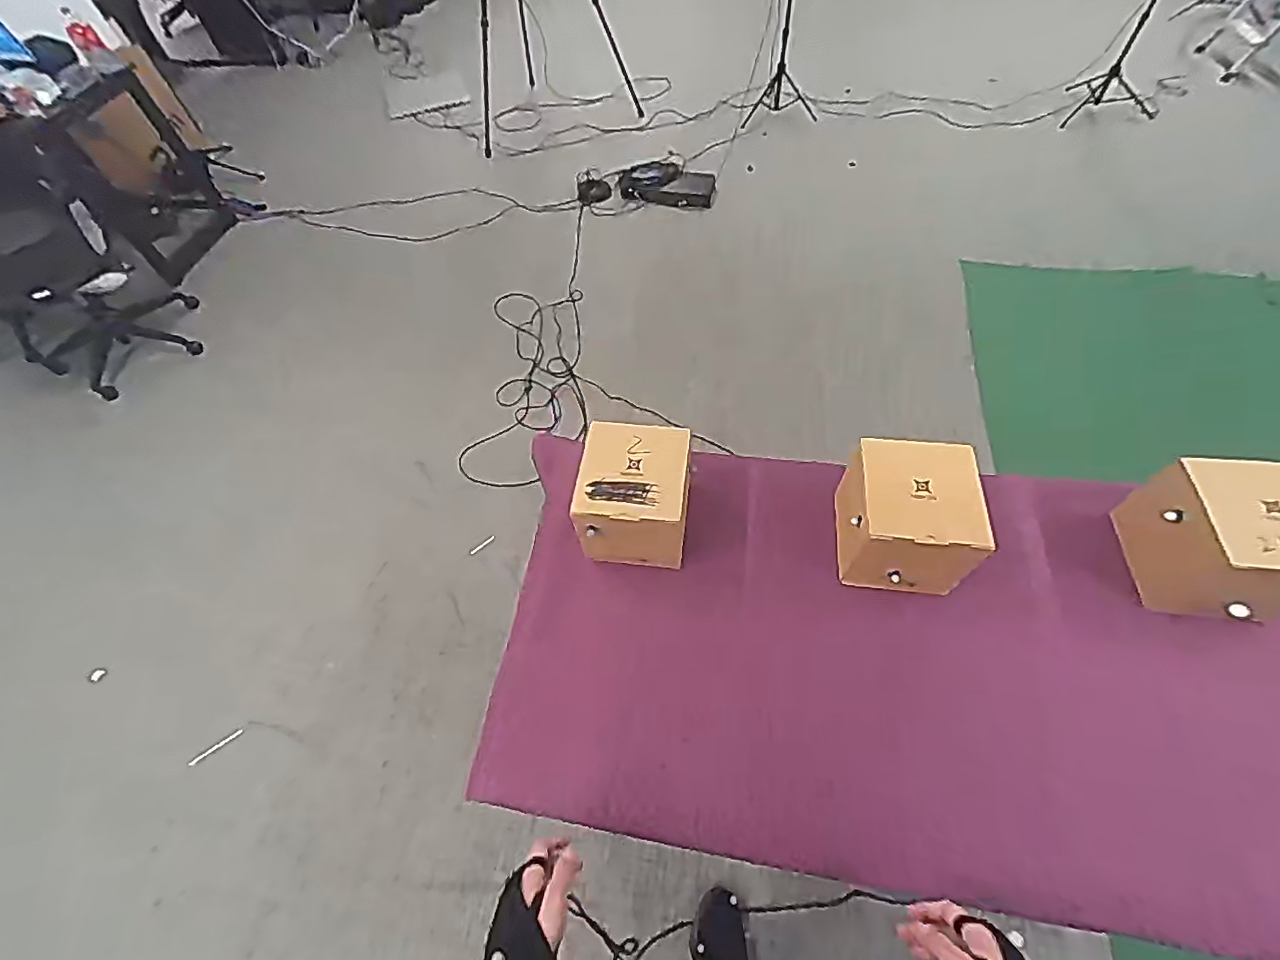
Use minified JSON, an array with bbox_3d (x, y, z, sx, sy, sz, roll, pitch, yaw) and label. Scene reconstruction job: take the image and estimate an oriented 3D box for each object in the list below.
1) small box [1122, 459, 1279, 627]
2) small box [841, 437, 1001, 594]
[{"bbox_3d":[0.855,0.092,0.780,0.168,0.176,0.179,4,57,10],"label":"small box"},{"bbox_3d":[0.418,0.058,0.841,0.168,0.176,0.179,5,58,7],"label":"small box"}]
